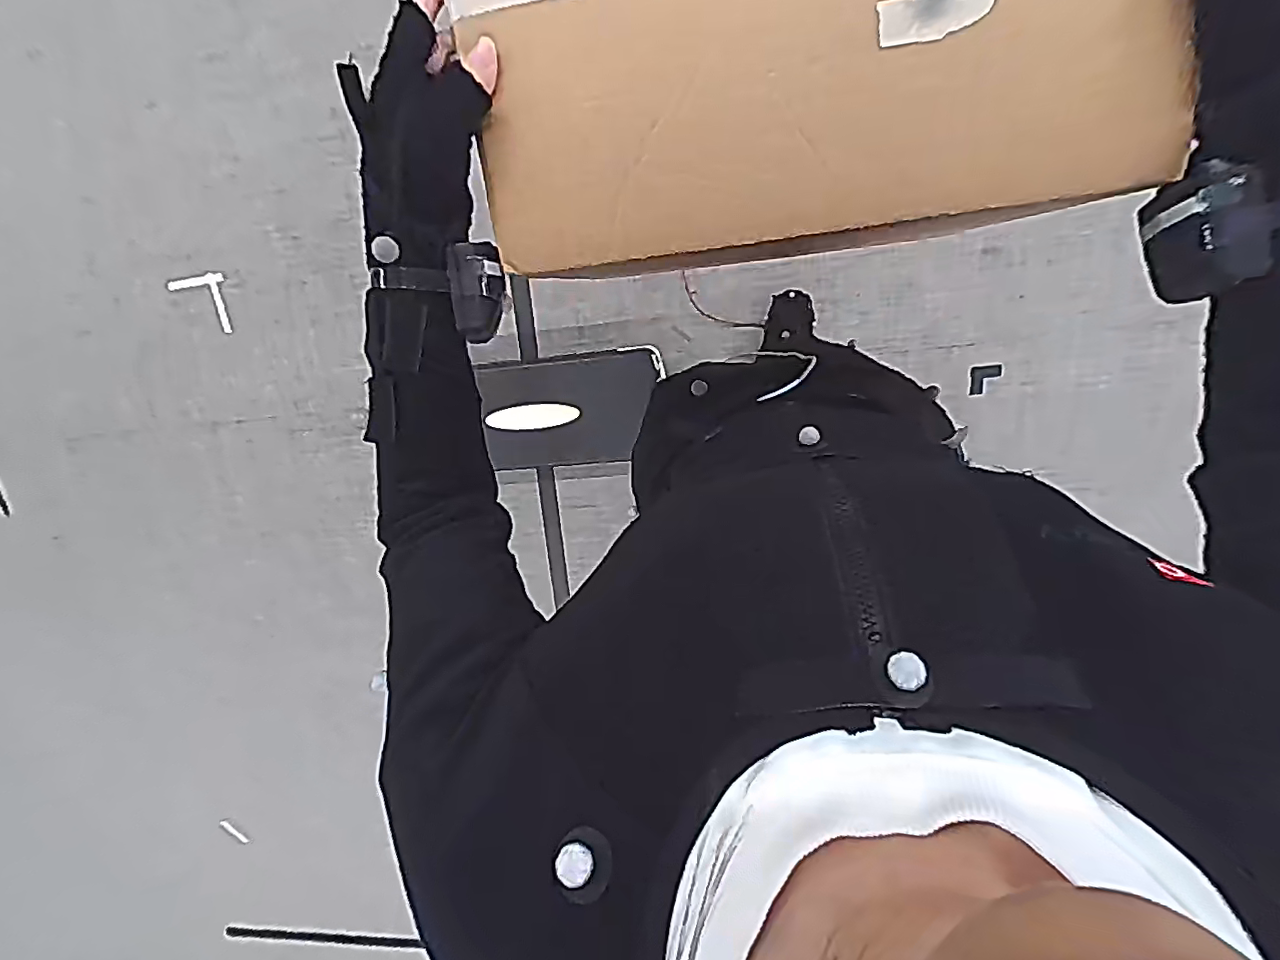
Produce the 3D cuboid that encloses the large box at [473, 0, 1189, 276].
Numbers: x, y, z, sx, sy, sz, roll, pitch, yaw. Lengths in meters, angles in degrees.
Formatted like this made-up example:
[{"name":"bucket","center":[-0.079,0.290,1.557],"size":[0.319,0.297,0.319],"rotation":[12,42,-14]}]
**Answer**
[{"name":"large box","center":[0.107,-0.361,0.439],"size":[0.408,0.320,0.320],"rotation":[-5,109,9]}]
